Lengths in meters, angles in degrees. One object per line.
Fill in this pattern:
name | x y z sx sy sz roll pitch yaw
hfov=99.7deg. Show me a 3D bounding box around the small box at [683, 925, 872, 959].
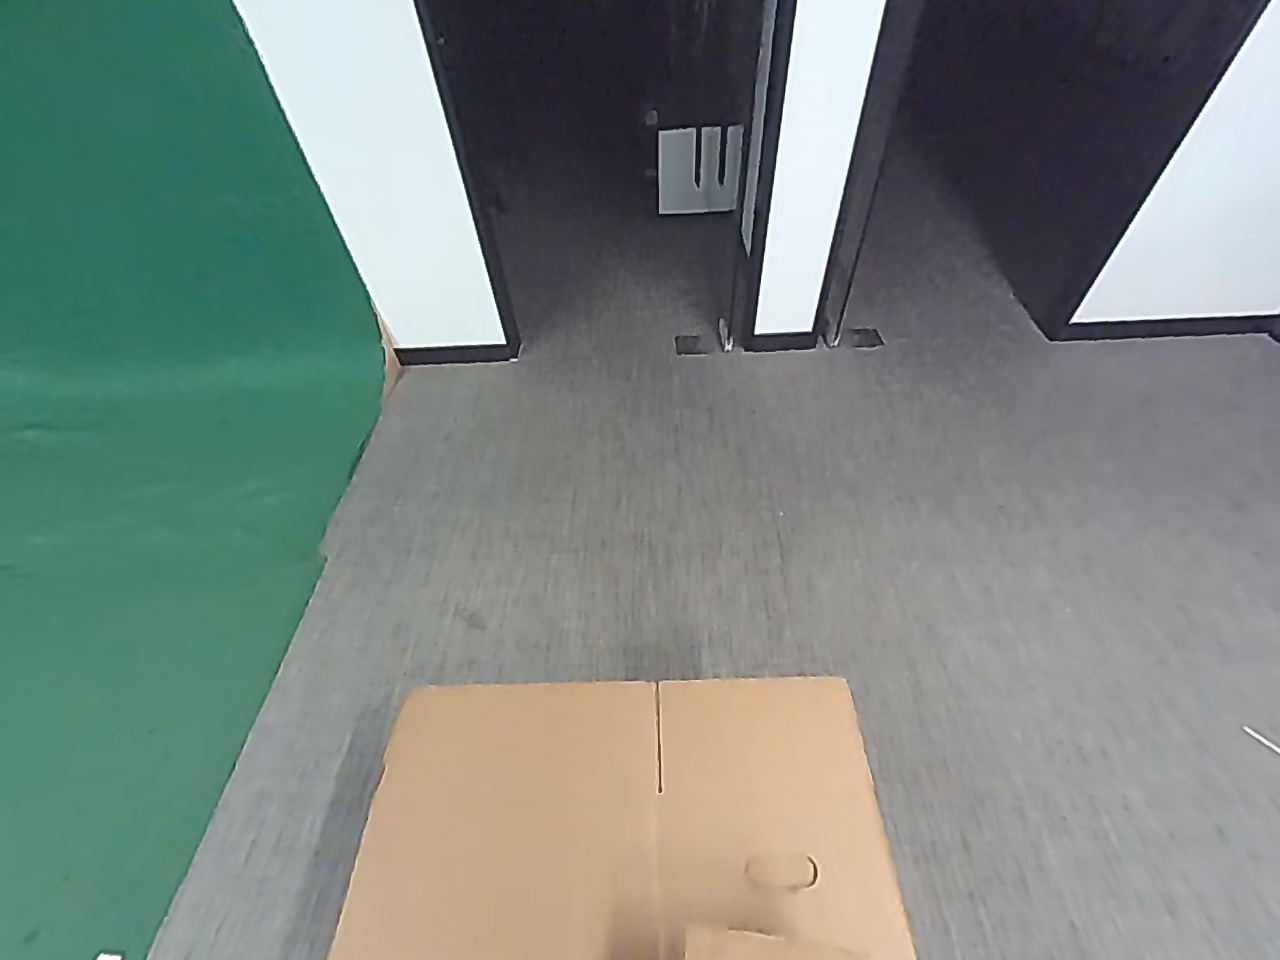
small box | 0.122 0.552 0.491 0.179 0.176 0.168 3 31 8
